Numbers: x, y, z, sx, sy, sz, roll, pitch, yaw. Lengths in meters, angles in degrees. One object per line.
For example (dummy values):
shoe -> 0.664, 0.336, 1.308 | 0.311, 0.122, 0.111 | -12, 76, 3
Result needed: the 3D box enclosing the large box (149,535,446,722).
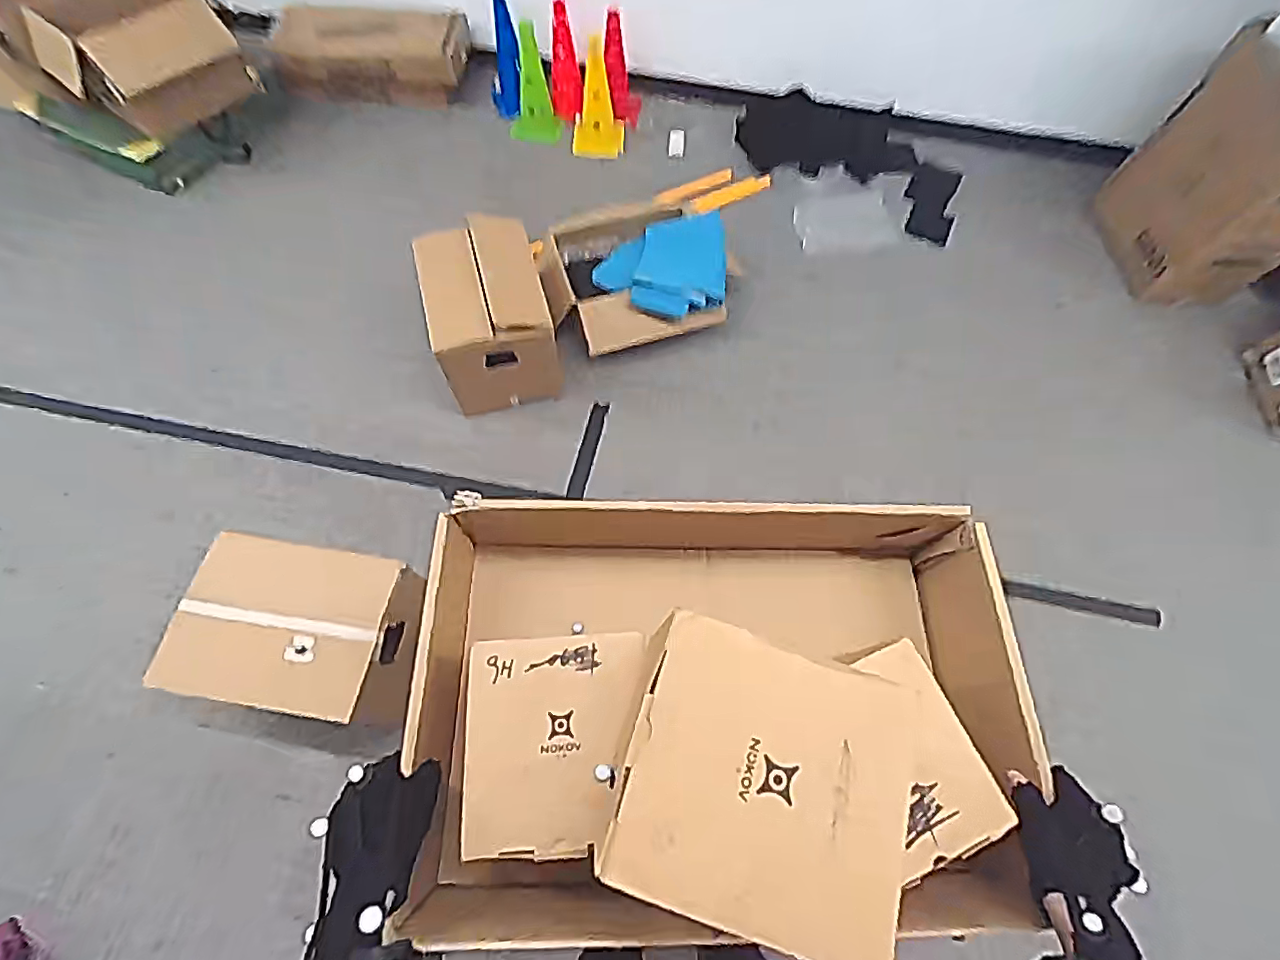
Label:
large box -> -0.708, 0.341, 1.199 | 0.408, 0.320, 0.320 | 9, 65, 1
